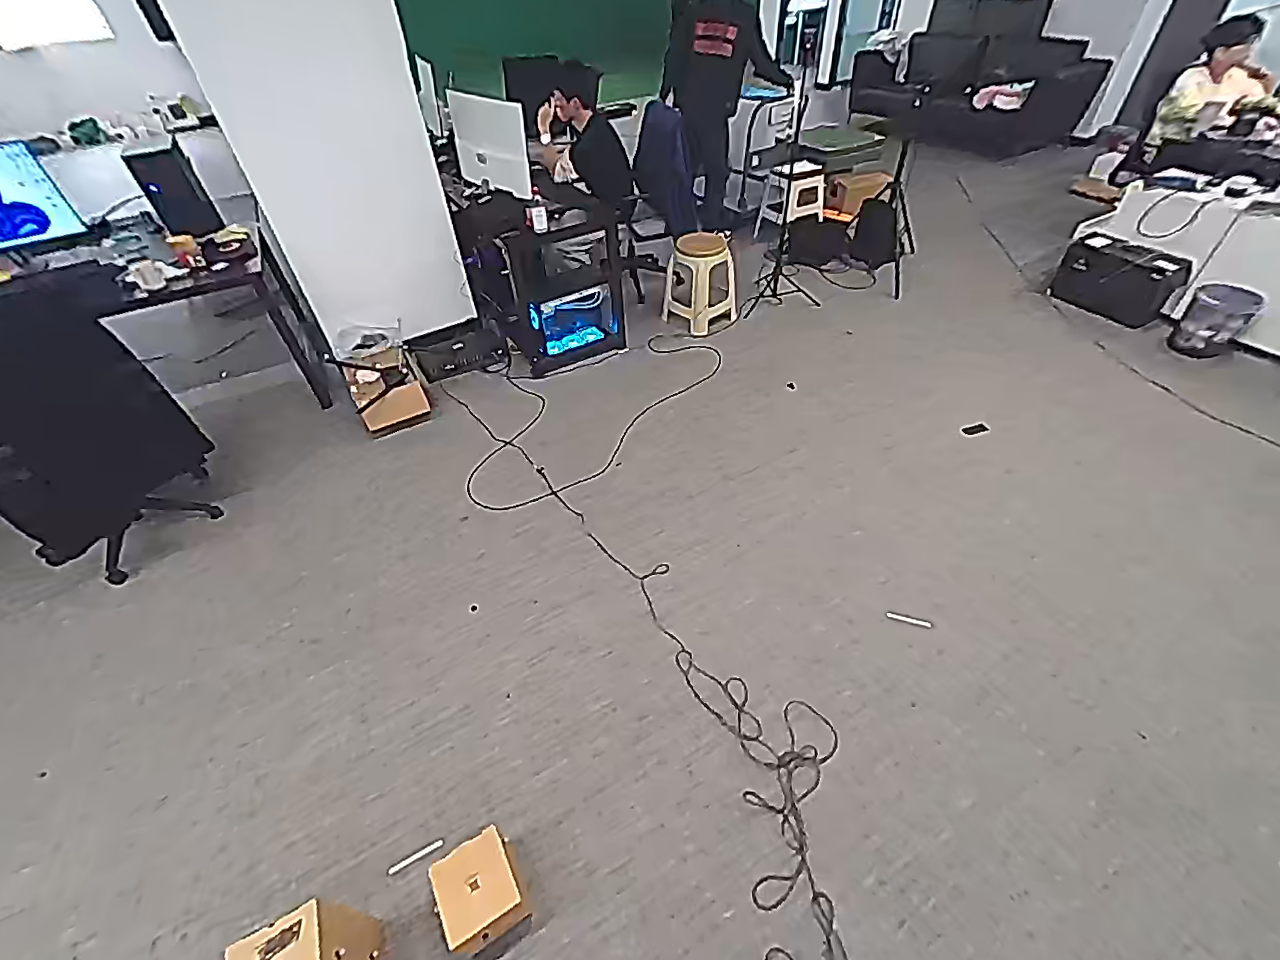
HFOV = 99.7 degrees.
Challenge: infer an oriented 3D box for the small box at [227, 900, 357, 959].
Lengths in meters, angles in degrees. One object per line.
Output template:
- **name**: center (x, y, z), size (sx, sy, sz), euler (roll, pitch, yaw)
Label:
- **small box**: center (-0.668, 0.969, 1.050), size (0.168, 0.176, 0.179), euler (-22, 48, -17)

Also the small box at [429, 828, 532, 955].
- **small box**: center (-0.368, 0.968, 1.268), size (0.168, 0.176, 0.179), euler (-25, 48, -20)
